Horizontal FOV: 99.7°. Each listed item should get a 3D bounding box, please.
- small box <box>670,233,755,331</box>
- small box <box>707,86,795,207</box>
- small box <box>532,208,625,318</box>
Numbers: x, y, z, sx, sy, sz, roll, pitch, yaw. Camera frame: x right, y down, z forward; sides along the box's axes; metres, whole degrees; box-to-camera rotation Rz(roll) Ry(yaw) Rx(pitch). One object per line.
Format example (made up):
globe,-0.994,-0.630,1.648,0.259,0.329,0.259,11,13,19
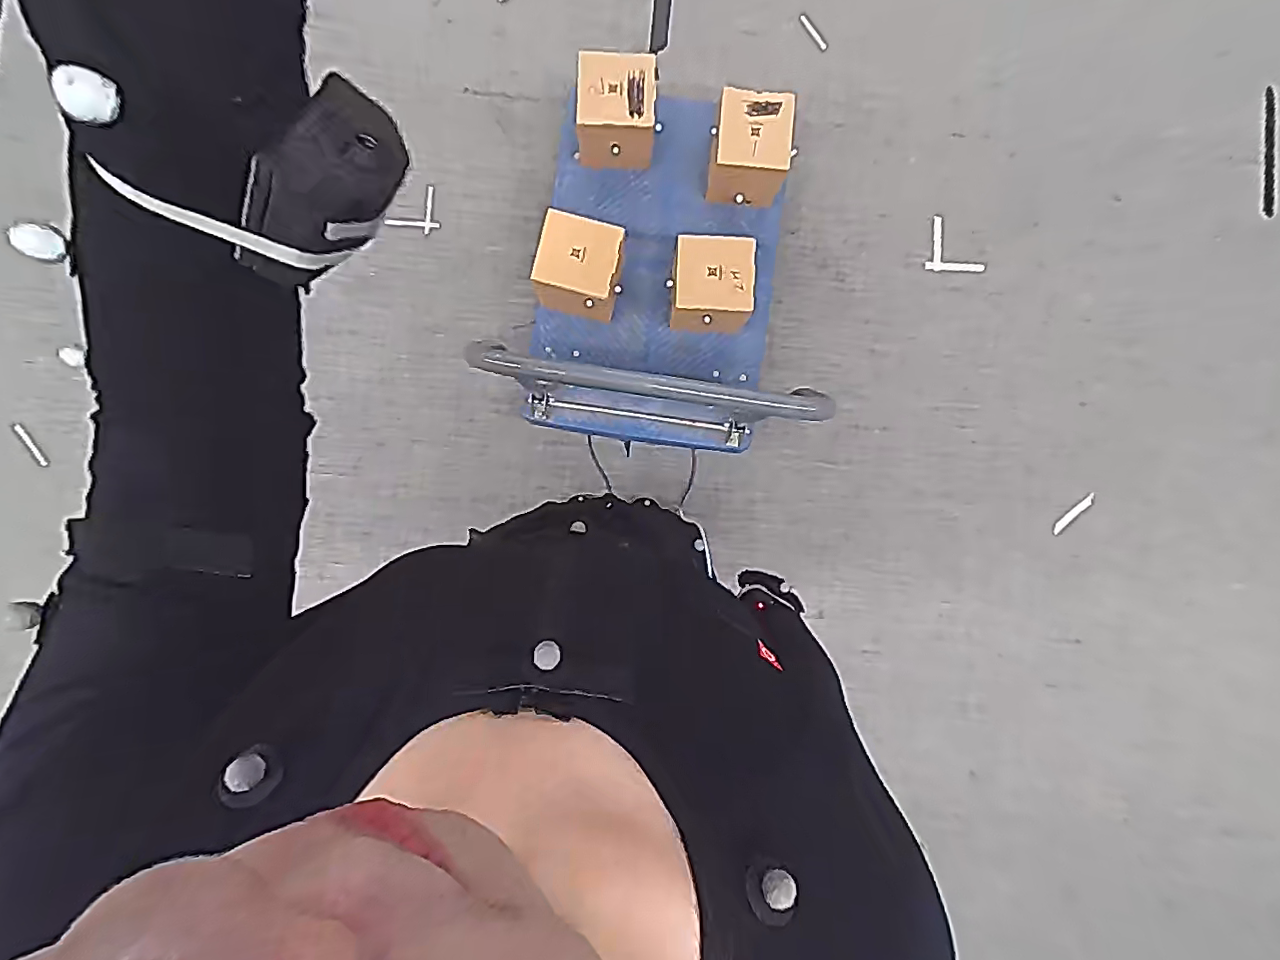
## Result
small box,0.165,-0.460,1.277,0.179,0.176,0.168,3,89,-1
small box,0.257,-0.785,1.288,0.168,0.176,0.179,5,89,-1
small box,-0.139,-0.501,1.271,0.179,0.176,0.168,14,88,-3
